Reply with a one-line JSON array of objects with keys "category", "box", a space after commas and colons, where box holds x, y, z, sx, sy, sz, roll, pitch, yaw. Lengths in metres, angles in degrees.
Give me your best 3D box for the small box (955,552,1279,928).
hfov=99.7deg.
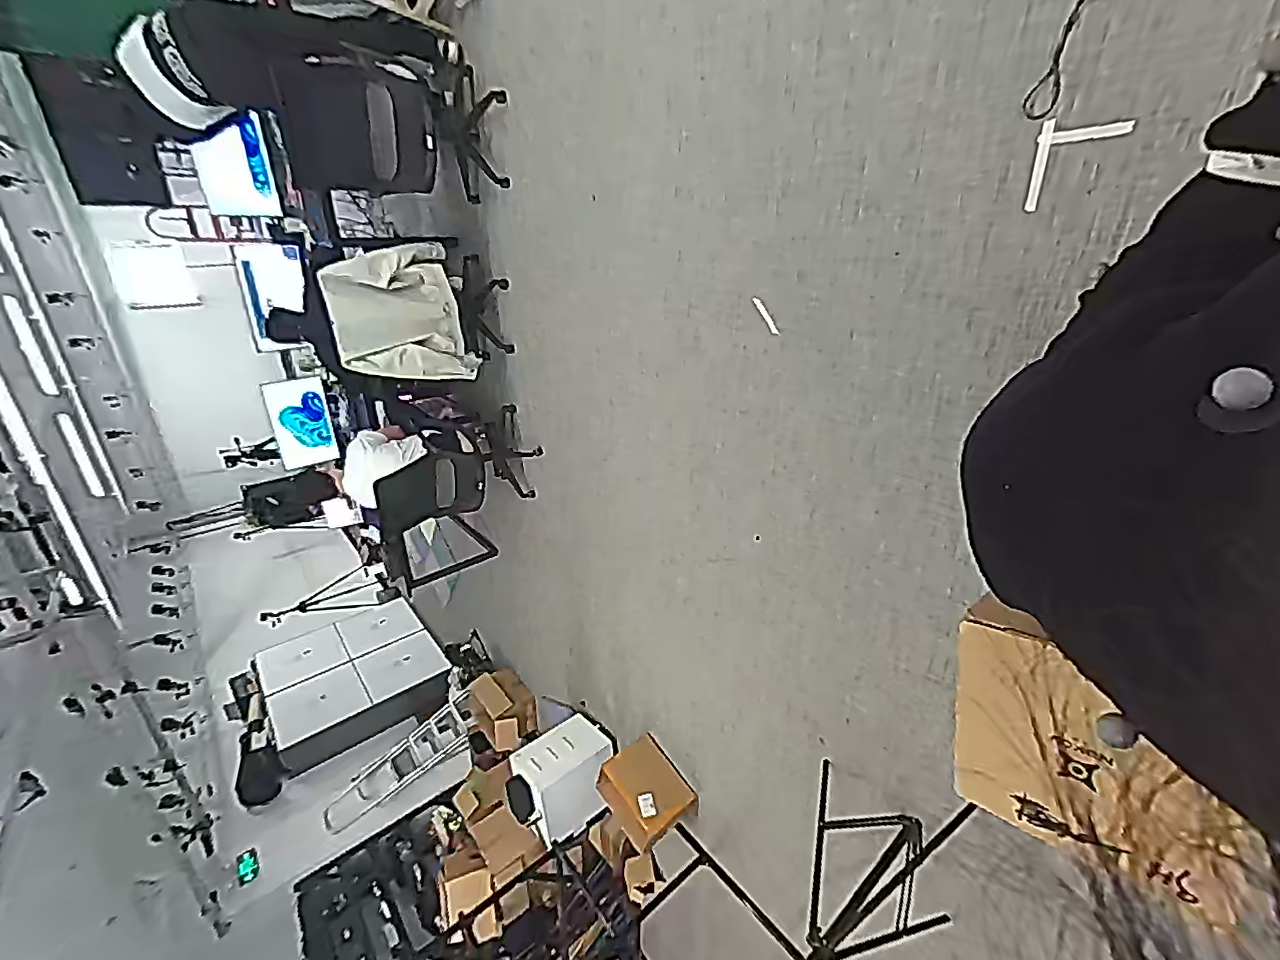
[{"category": "small box", "box": [0.377, 0.173, 0.430, 0.168, 0.176, 0.179, 13, 114, 51]}]
